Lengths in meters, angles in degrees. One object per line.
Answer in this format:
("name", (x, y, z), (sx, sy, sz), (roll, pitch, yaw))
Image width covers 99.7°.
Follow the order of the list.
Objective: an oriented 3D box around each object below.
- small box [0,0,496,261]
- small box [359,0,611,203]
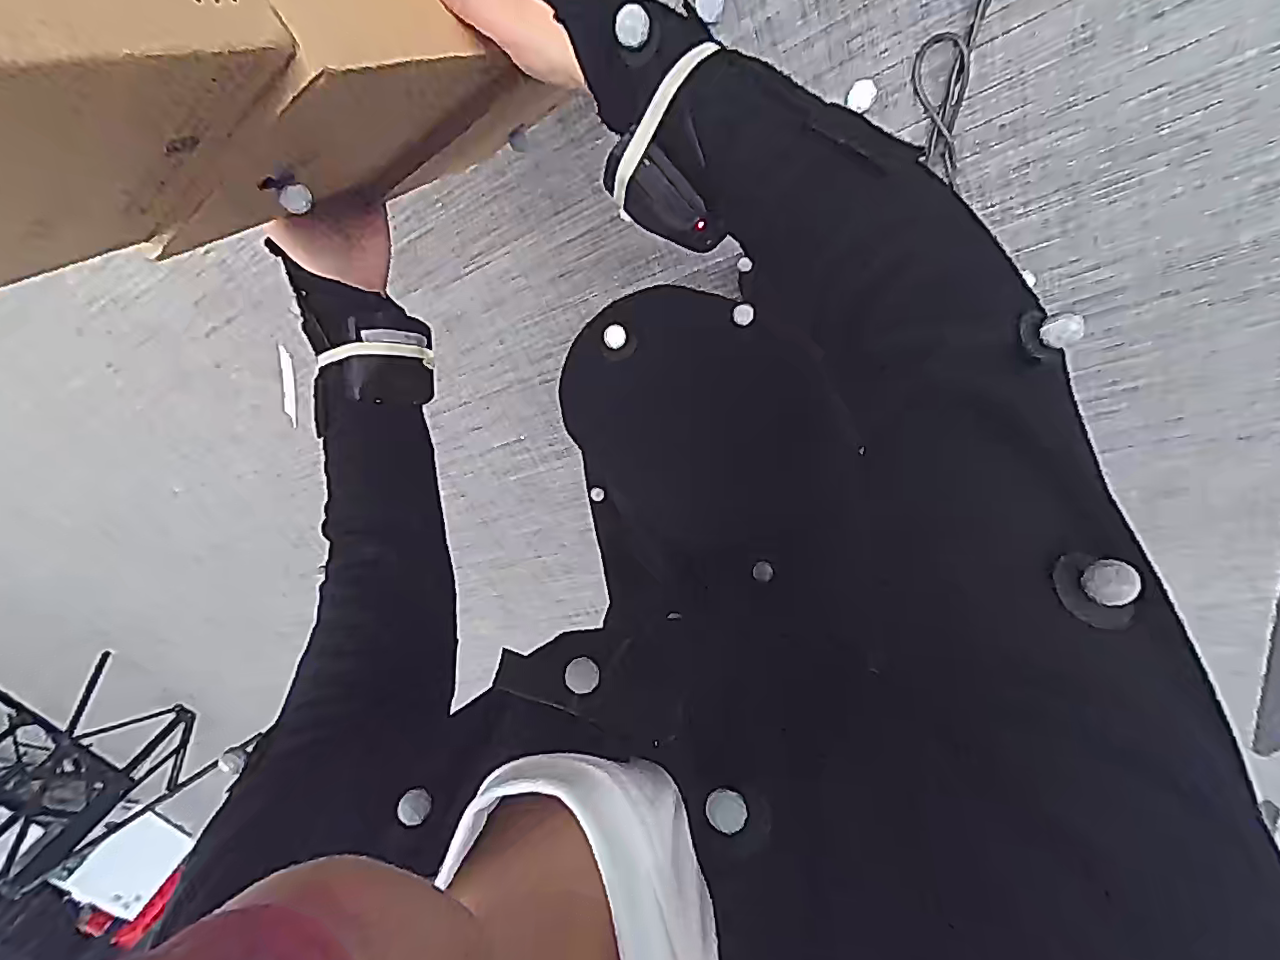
("small box", (-0.196, -0.243, 0.262), (0.179, 0.176, 0.168), (-13, 123, 32))
("small box", (-0.147, -0.338, 0.385), (0.168, 0.176, 0.179), (-13, 124, 31))
